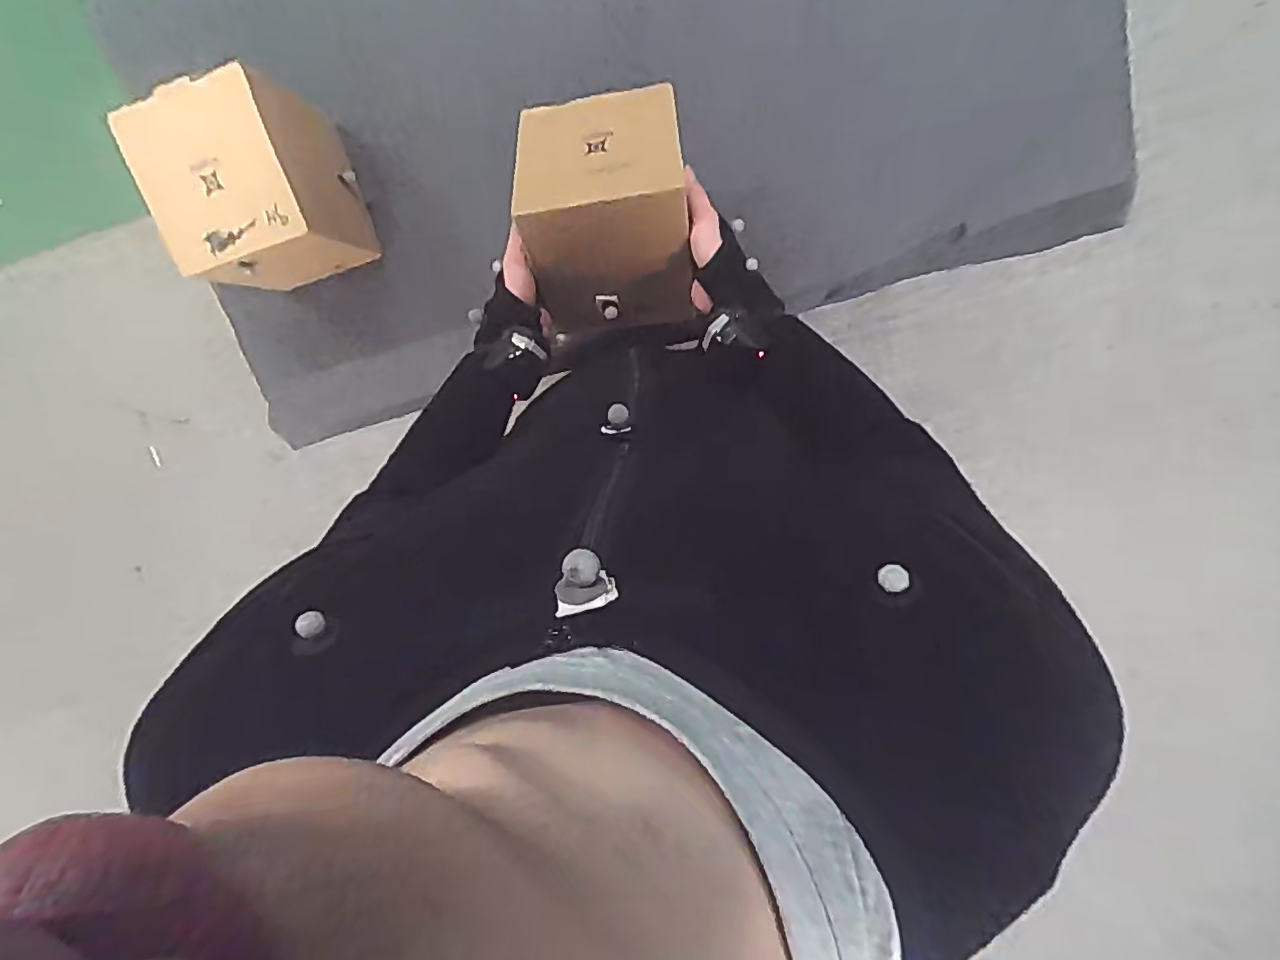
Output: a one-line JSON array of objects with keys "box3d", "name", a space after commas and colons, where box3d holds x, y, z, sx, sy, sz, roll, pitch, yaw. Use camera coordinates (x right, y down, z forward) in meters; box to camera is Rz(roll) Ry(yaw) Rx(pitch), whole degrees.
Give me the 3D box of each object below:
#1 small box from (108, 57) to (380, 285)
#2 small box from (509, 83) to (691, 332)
[{"box3d": [-0.459, -0.354, 0.659, 0.168, 0.176, 0.179, -15, 103, 8], "name": "small box"}, {"box3d": [-0.034, -0.293, 0.601, 0.168, 0.176, 0.179, -6, 63, 6], "name": "small box"}]
